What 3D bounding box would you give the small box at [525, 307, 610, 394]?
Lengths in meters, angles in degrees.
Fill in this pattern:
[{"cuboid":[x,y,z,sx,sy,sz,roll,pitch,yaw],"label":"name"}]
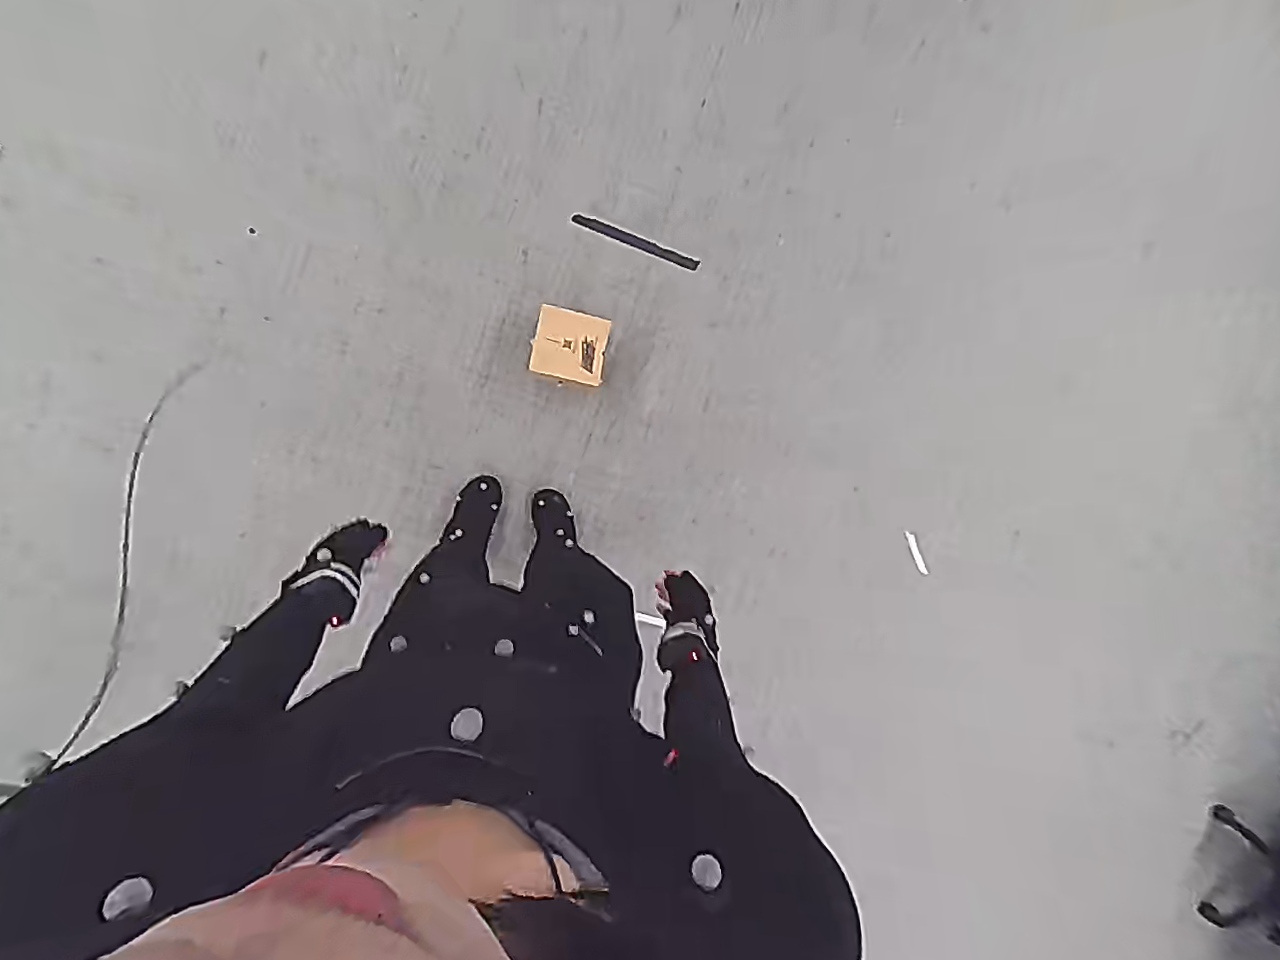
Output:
[{"cuboid":[-0.188,-0.323,1.384,0.179,0.176,0.168,13,91,-10],"label":"small box"}]
